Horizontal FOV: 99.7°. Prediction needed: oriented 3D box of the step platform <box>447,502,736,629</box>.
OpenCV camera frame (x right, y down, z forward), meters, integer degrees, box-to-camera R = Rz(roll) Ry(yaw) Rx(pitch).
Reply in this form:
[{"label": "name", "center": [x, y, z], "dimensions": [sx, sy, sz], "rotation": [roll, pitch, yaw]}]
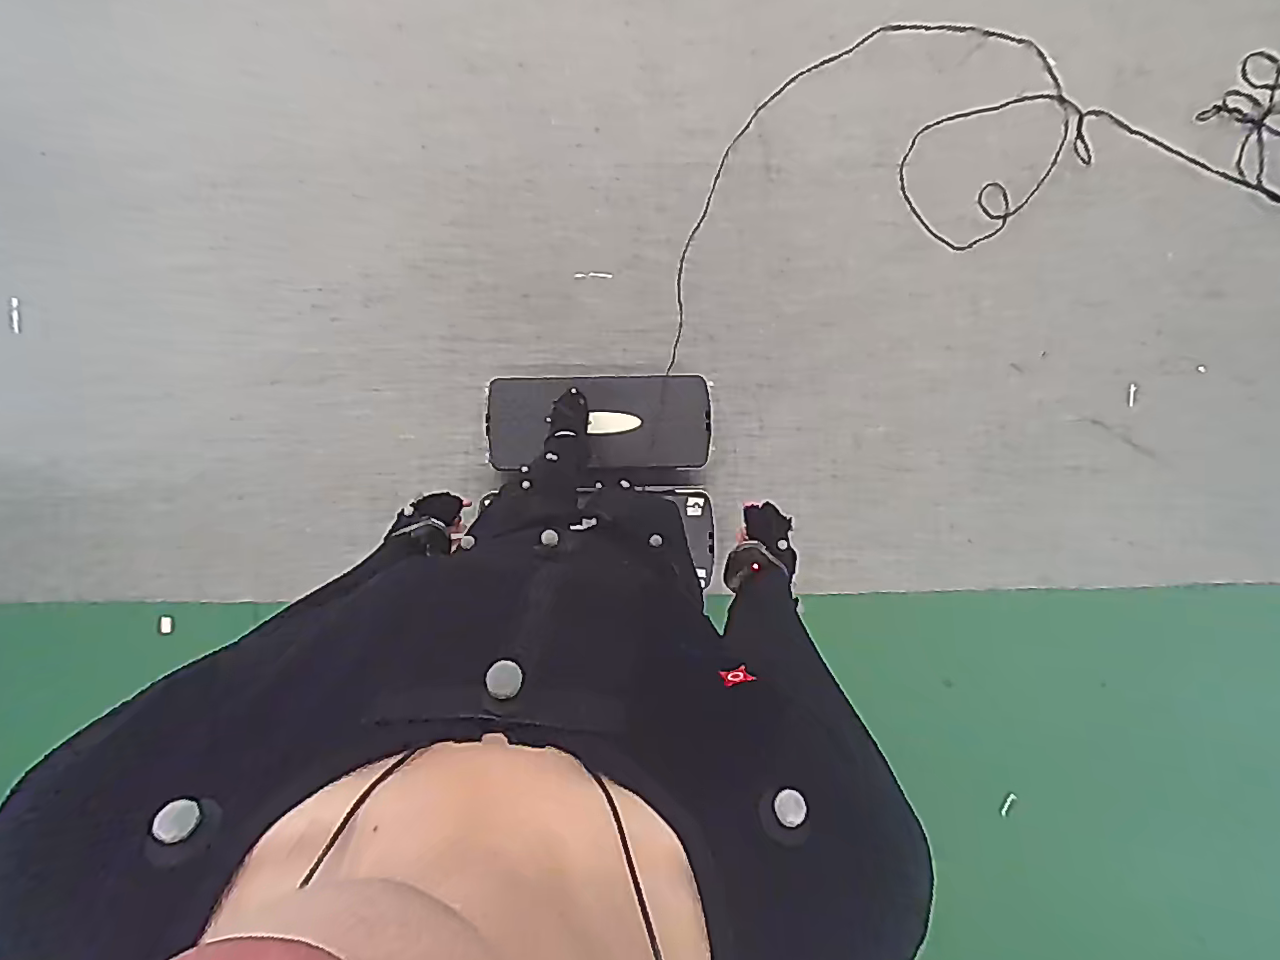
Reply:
[{"label": "step platform", "center": [-0.115, 0.204, 1.369], "dimensions": [0.684, 0.204, 0.286], "rotation": [-1, 91, -2]}]
